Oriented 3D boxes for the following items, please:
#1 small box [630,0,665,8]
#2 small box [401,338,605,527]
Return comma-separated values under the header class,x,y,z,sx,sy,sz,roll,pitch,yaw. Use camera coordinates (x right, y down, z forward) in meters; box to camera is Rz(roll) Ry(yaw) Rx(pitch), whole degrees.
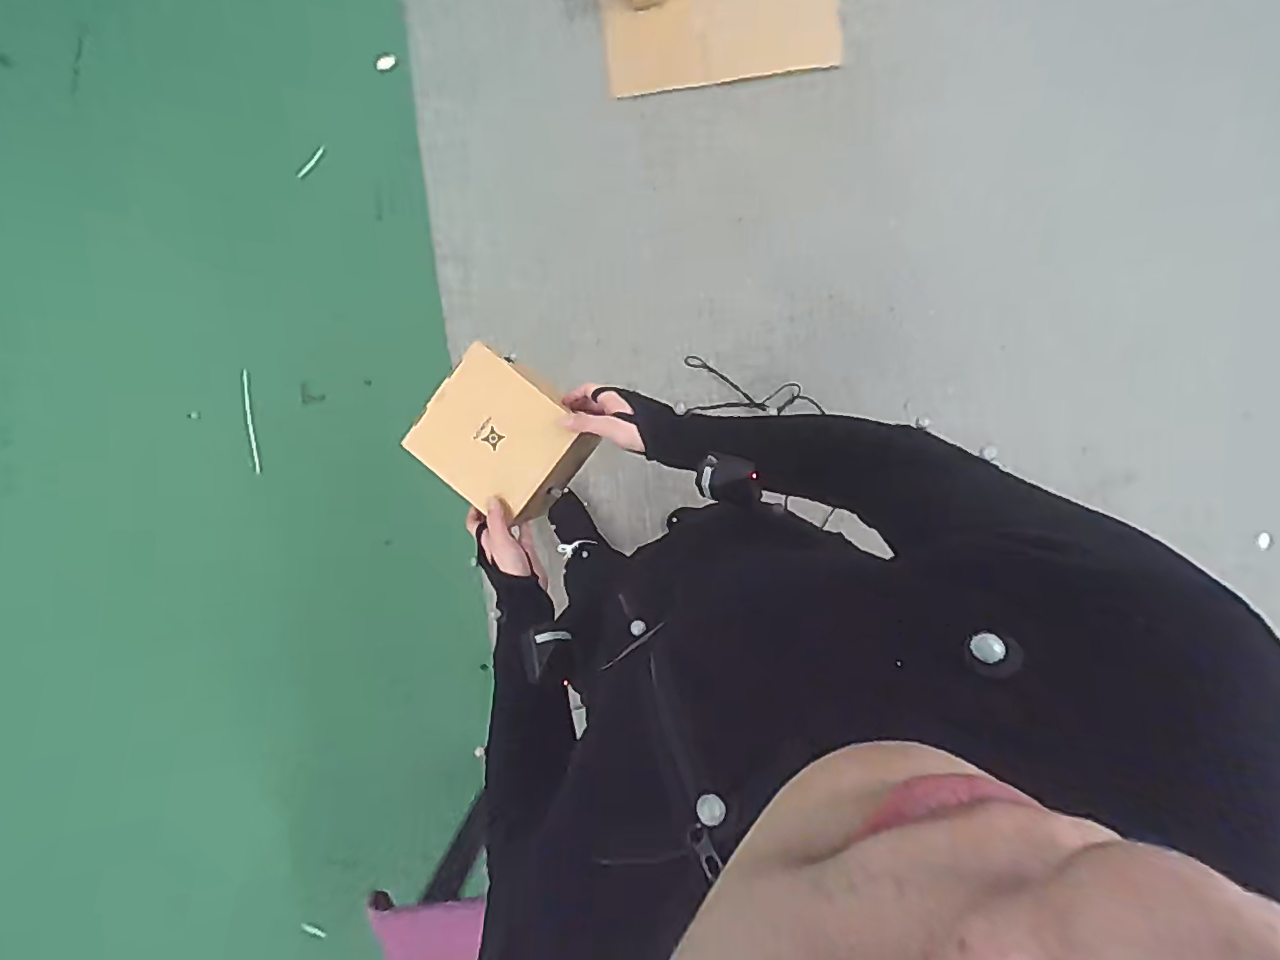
class,x,y,z,sx,sy,sz,roll,pitch,yaw
small box,0.031,-1.485,1.505,0.168,0.176,0.179,-15,91,3
small box,-0.170,-0.062,0.733,0.179,0.176,0.168,40,97,5
